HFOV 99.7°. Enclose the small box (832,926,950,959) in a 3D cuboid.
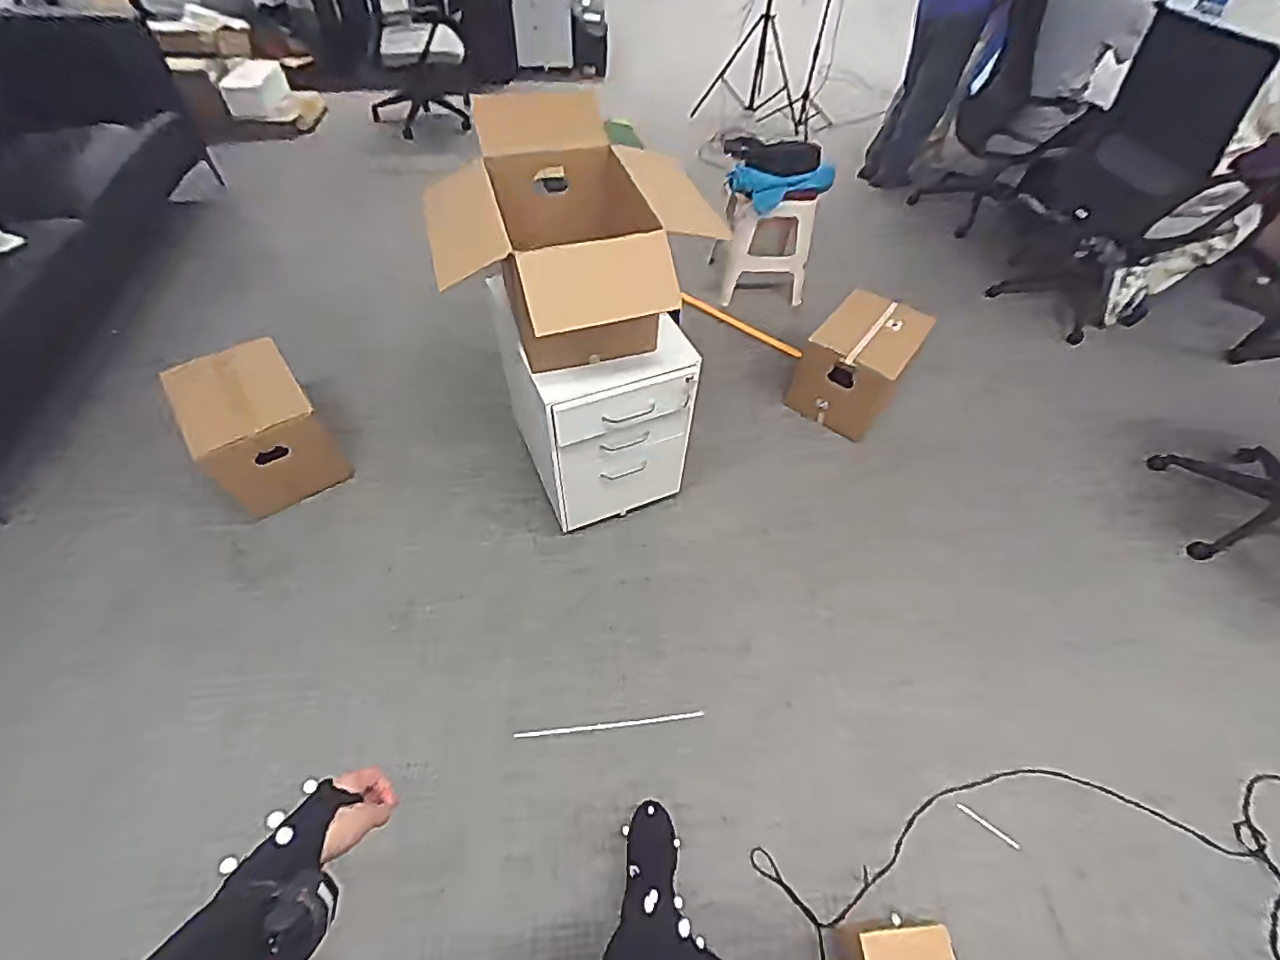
[{"bbox_3d":[0.484,0.964,1.028,0.179,0.176,0.168,-1,53,-5],"label":"small box"}]
